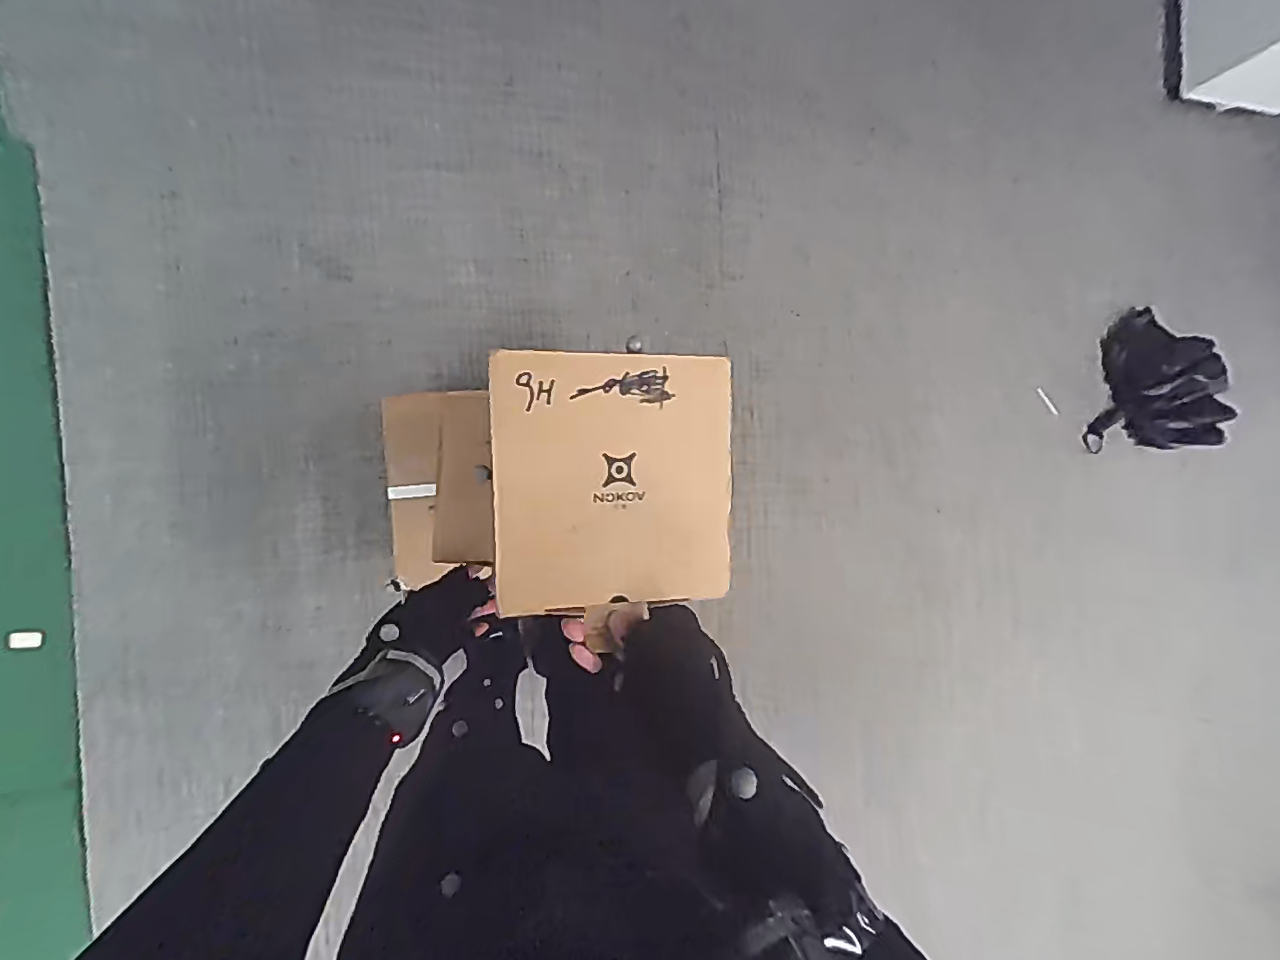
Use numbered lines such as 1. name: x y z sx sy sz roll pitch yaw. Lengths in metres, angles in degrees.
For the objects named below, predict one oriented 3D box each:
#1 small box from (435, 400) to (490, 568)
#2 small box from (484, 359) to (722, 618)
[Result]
1. small box: -0.149 0.001 0.656 0.168 0.176 0.179 3 94 -15
2. small box: -0.041 -0.002 0.452 0.168 0.176 0.179 -2 96 -15
